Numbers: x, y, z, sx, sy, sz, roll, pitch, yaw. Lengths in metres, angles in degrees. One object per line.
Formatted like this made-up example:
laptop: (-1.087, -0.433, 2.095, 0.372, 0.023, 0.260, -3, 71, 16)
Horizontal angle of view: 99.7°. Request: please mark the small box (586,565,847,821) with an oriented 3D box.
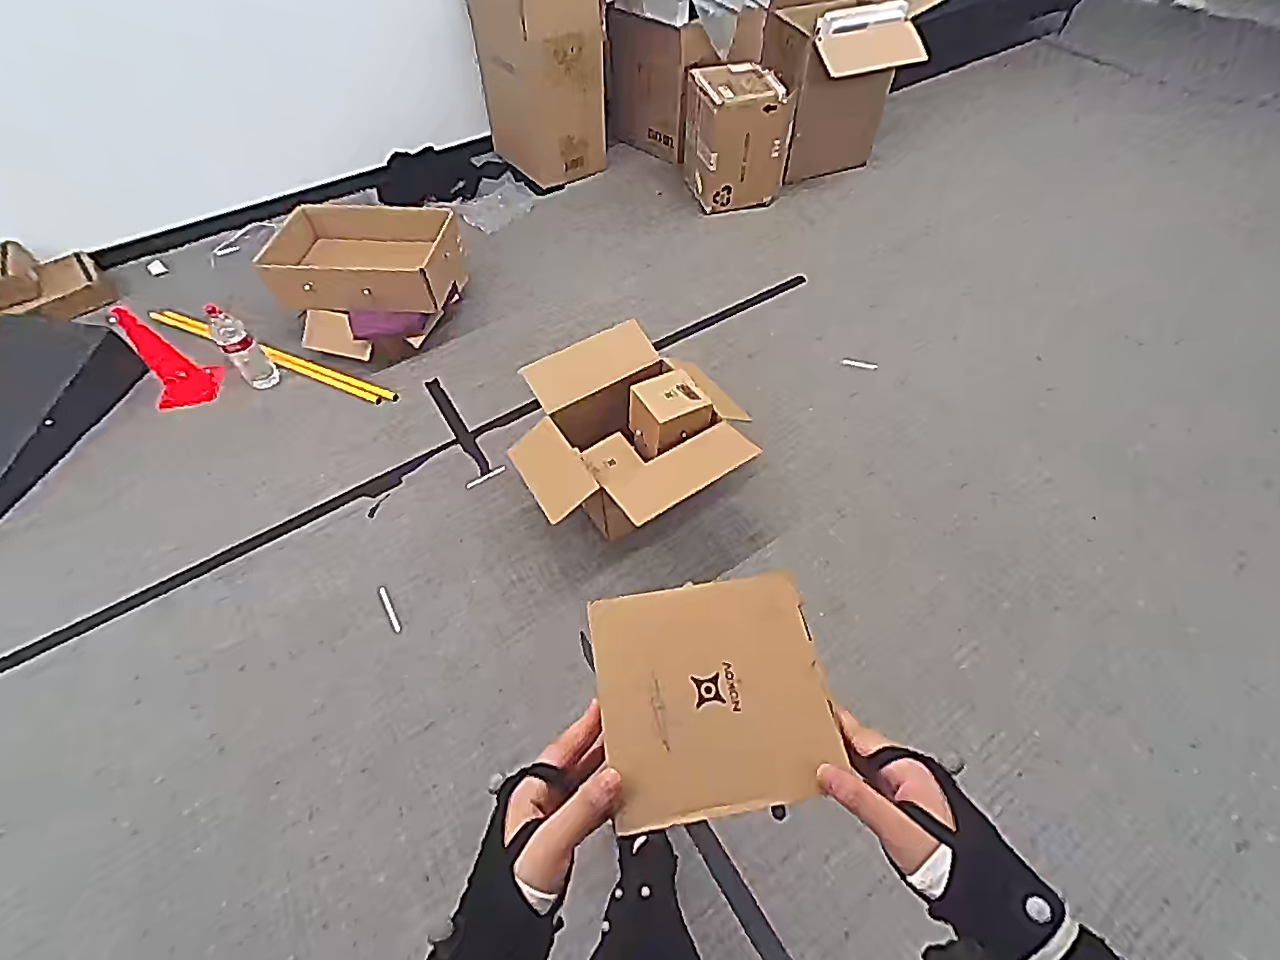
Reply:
small box: (0.052, 0.193, 0.489, 0.179, 0.176, 0.168, -9, 61, -4)
